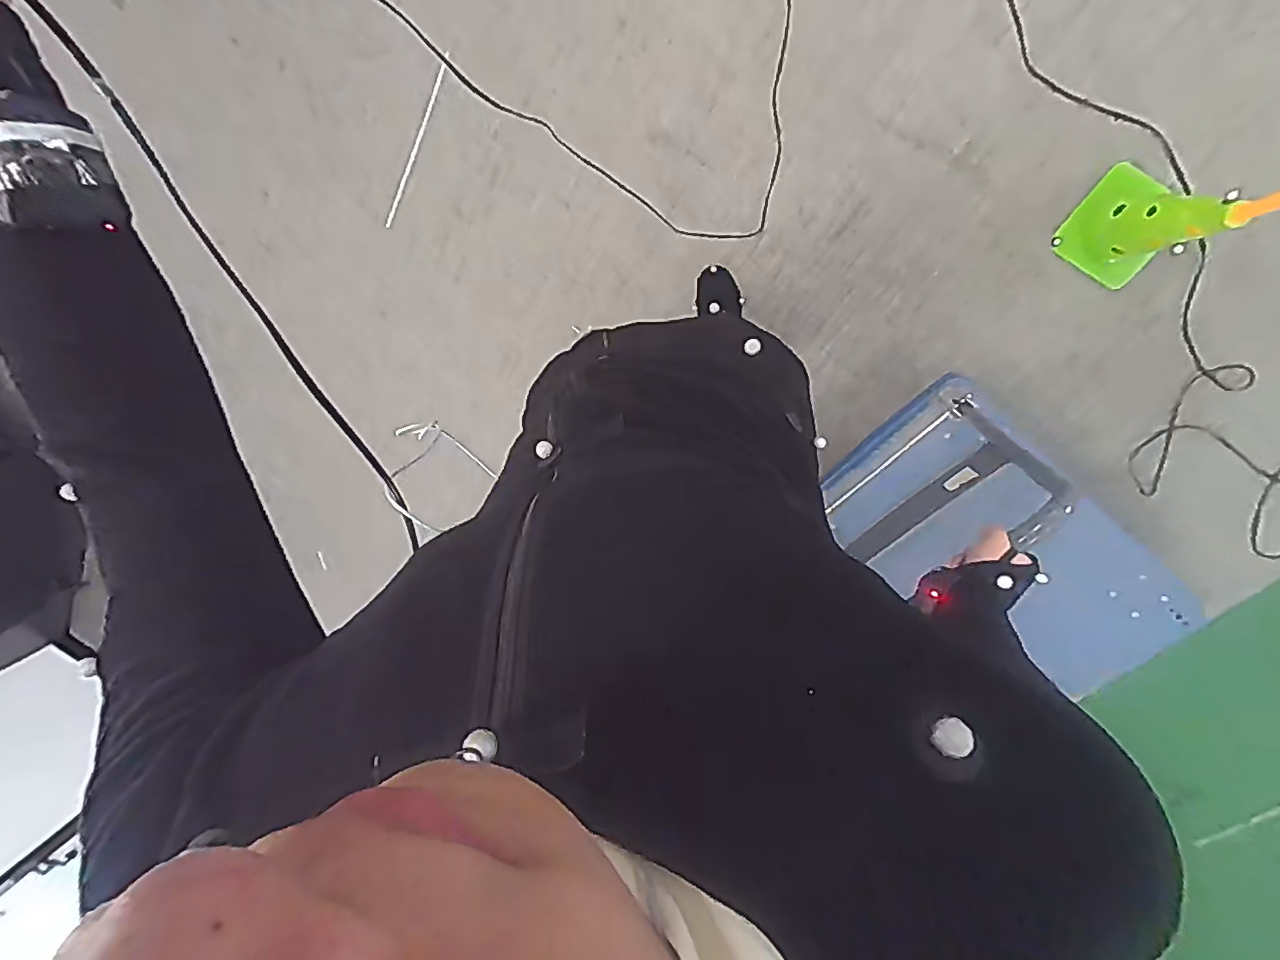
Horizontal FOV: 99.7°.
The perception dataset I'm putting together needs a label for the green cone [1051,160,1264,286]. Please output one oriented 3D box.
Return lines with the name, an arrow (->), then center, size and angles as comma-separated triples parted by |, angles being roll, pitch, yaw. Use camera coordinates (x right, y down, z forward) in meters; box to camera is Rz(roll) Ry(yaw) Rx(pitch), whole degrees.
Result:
green cone -> 1.013, -0.498, 1.028 | 0.200, 0.368, 0.202 | 33, 115, 0
